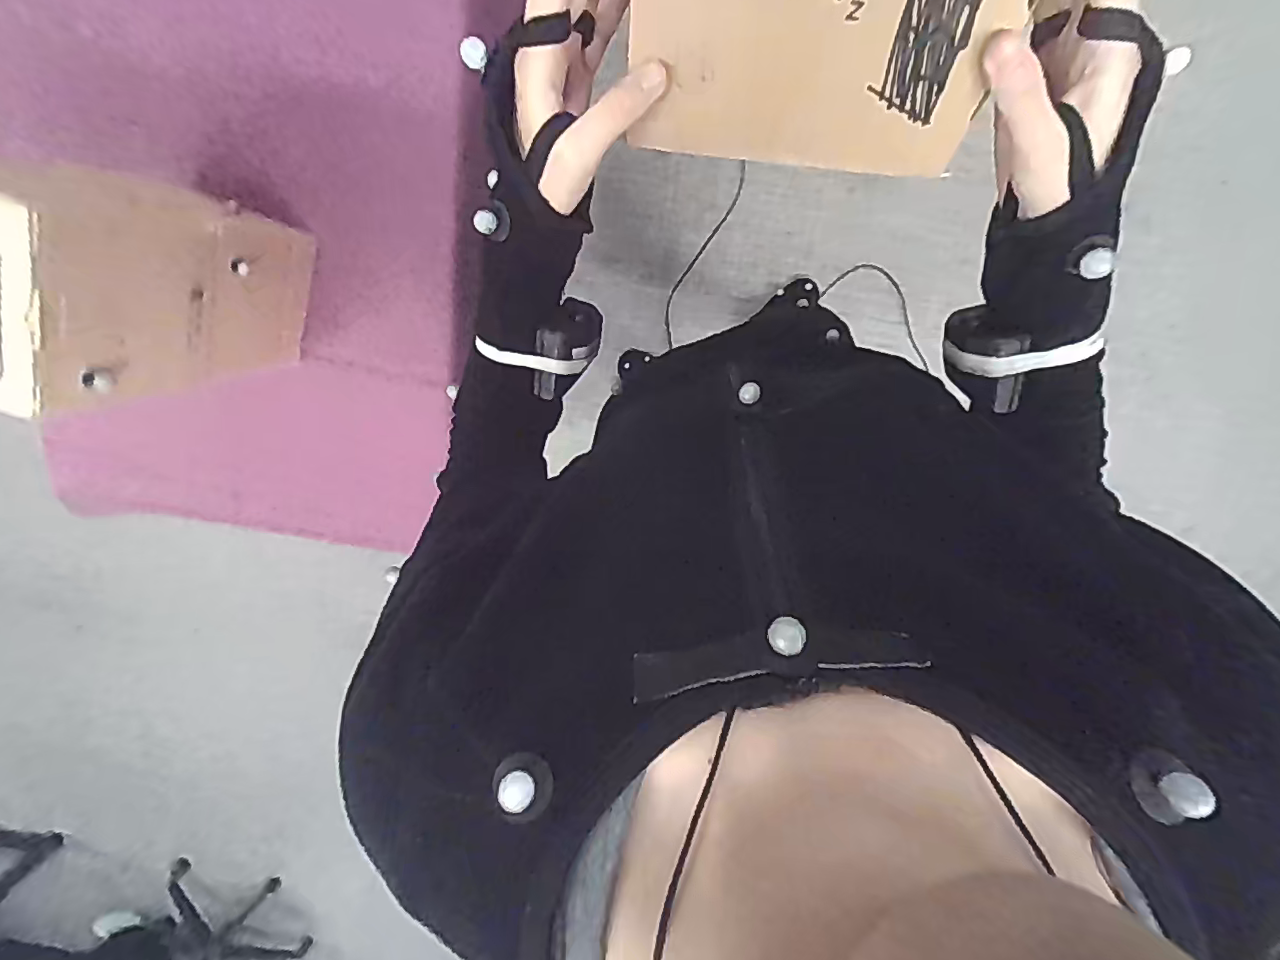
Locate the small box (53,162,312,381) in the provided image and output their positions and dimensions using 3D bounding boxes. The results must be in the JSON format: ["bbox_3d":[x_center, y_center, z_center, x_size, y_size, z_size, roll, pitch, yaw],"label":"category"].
[{"bbox_3d":[-0.527,-0.236,0.644,0.168,0.176,0.179,20,106,-3],"label":"small box"}]

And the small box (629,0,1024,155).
[{"bbox_3d":[0.092,-0.298,0.263,0.179,0.176,0.168,6,153,-1],"label":"small box"}]
